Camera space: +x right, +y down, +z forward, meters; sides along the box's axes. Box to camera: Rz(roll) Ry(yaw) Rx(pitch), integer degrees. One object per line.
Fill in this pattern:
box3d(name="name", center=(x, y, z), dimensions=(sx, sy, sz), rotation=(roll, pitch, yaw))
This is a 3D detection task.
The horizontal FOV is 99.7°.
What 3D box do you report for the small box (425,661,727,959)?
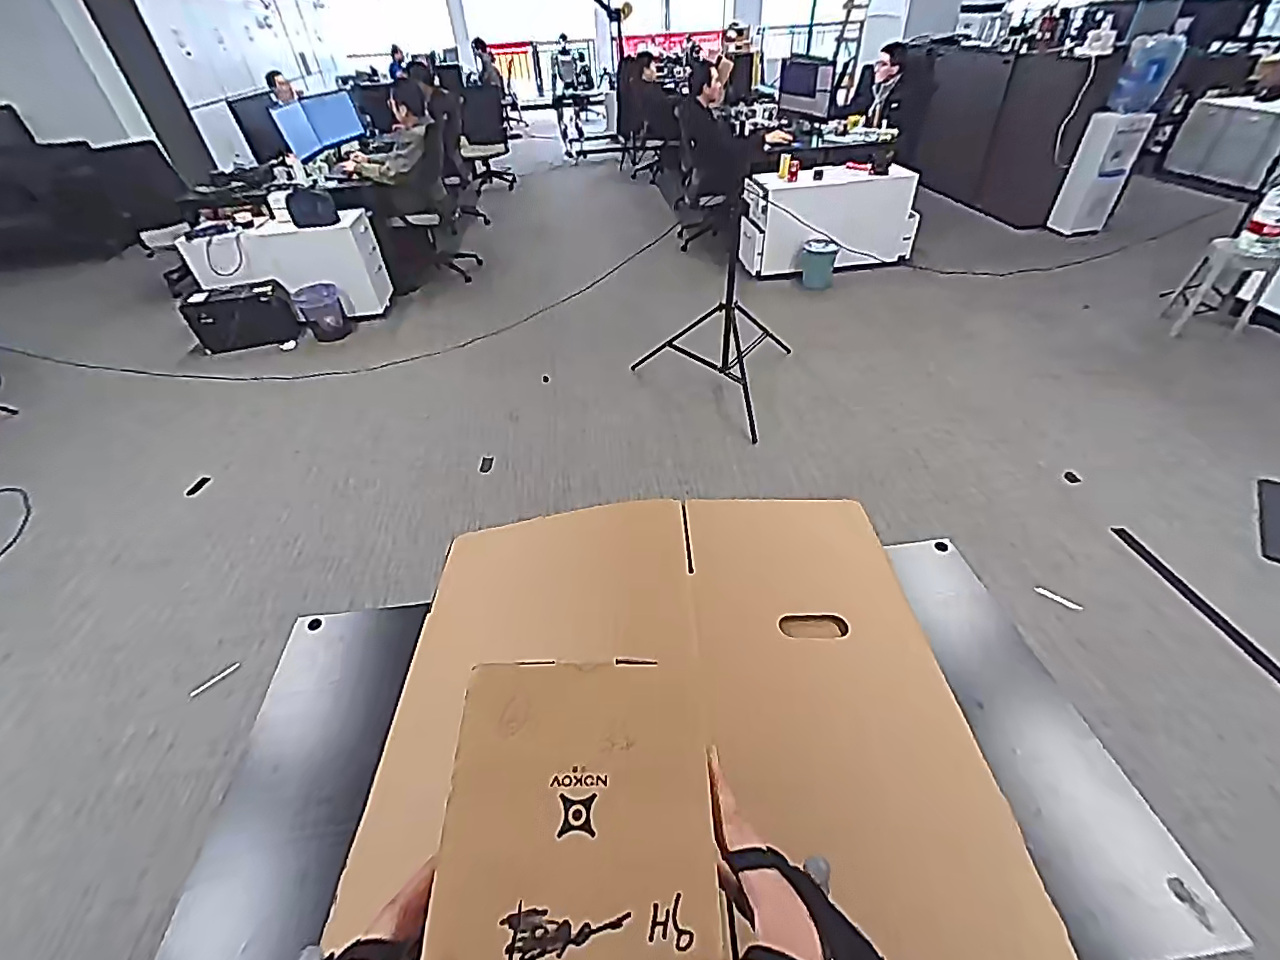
box3d(name="small box", center=(-0.035, 0.251, 0.400), dimensions=(0.168, 0.176, 0.179), rotation=(-1, 51, 0))
